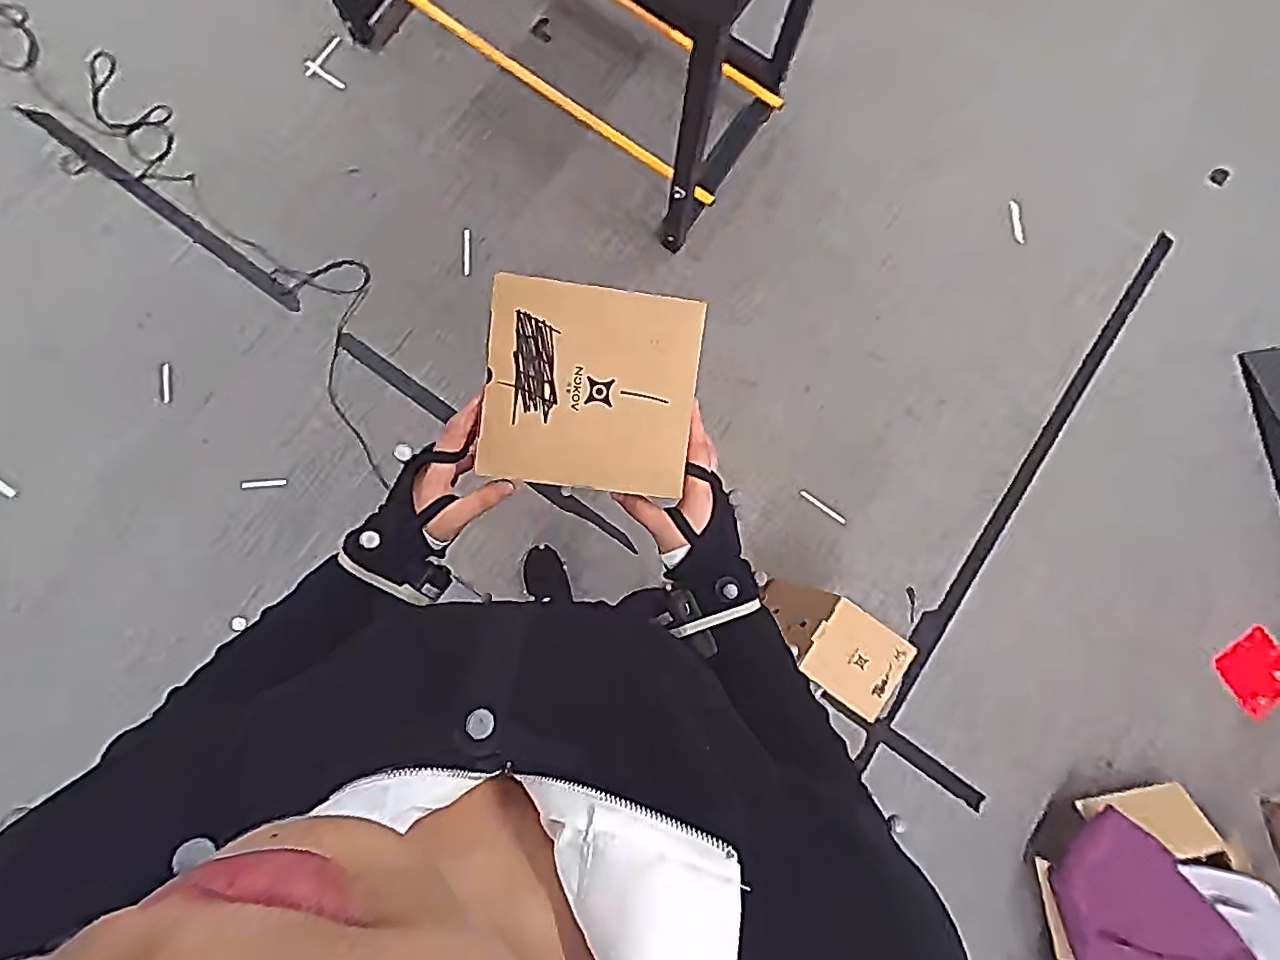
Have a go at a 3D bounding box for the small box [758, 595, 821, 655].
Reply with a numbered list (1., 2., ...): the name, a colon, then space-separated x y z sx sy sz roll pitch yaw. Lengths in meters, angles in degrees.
1. small box: 0.424 0.401 1.346 0.179 0.176 0.168 35 83 2

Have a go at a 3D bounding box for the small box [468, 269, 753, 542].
1. small box: -0.024 -0.054 0.439 0.179 0.176 0.168 6 95 -4

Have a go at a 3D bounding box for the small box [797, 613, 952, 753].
1. small box: 0.427 0.367 1.019 0.179 0.176 0.168 36 83 2

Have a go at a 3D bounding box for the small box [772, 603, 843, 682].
1. small box: 0.420 0.386 1.181 0.179 0.176 0.168 35 83 1
